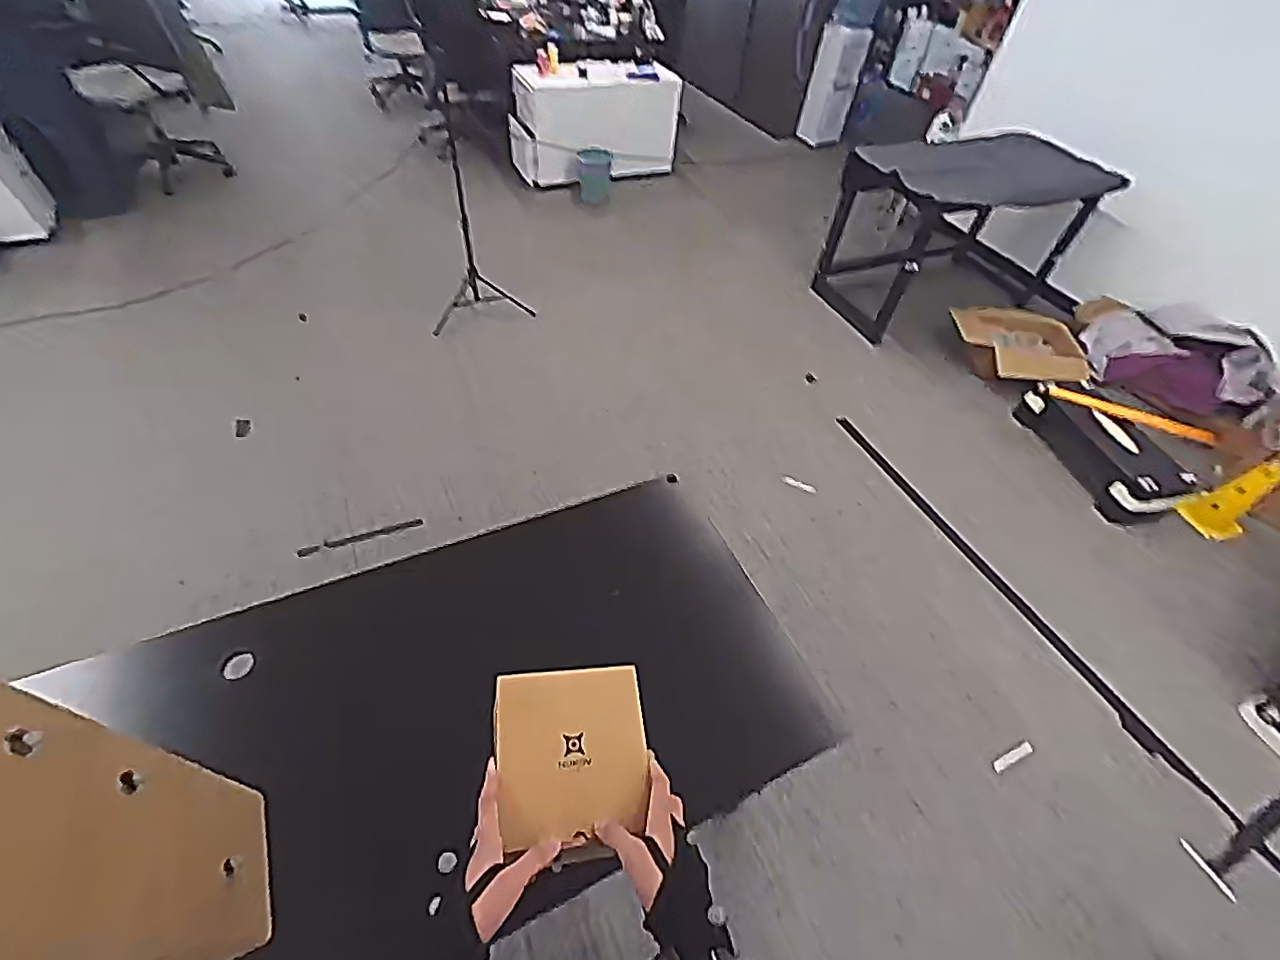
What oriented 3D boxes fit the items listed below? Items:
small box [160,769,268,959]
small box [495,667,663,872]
[{"bbox_3d":[-0.548,0.465,0.609,0.168,0.176,0.179,-19,55,-21],"label":"small box"},{"bbox_3d":[-0.084,0.341,0.640,0.168,0.176,0.179,1,51,-15],"label":"small box"}]
